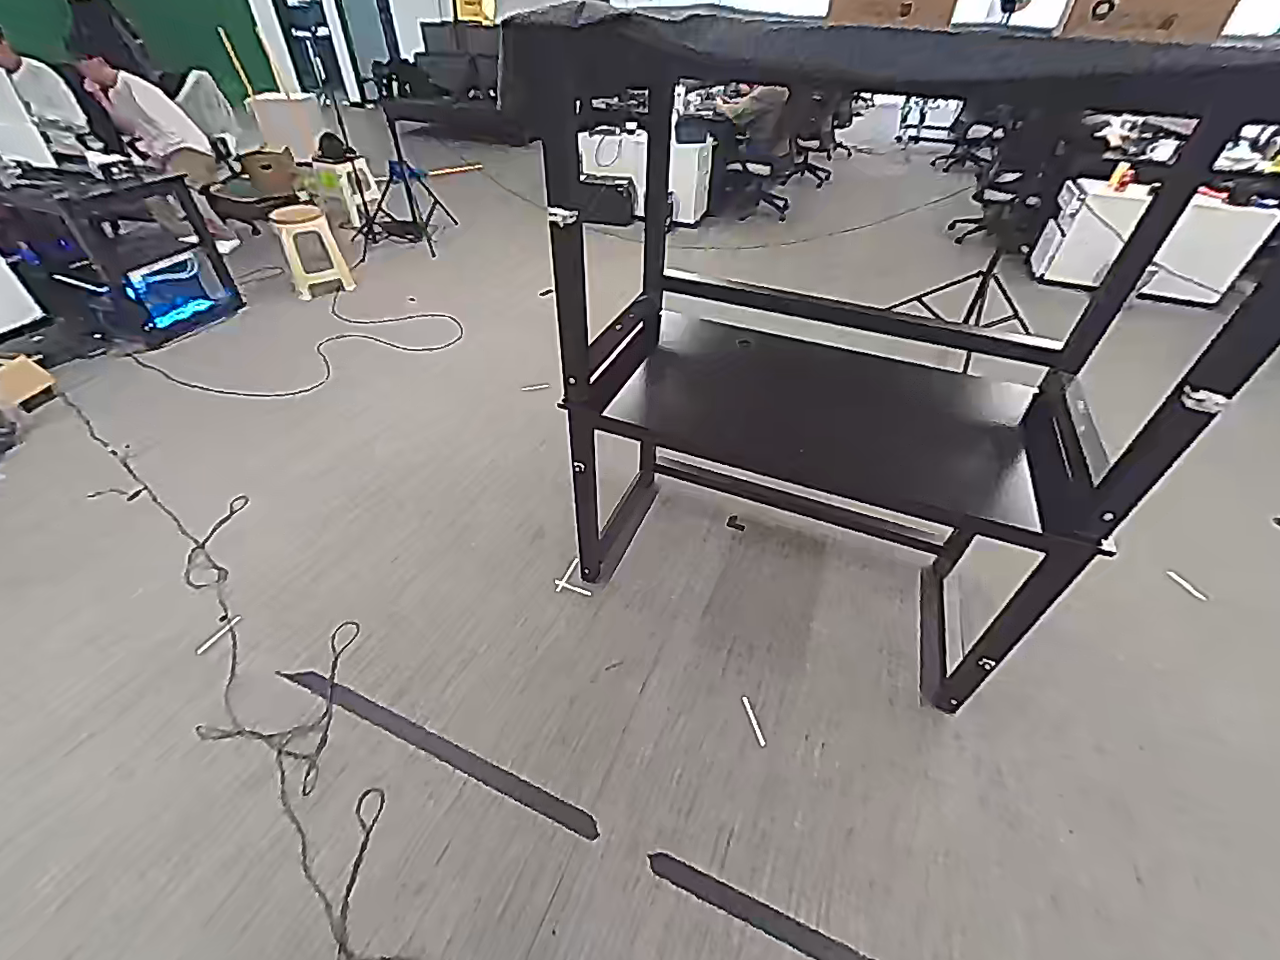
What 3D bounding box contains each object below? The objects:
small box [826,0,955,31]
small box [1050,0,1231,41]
[{"bbox_3d":[0.368,-0.737,0.748,0.168,0.176,0.179,17,42,17],"label":"small box"},{"bbox_3d":[0.647,-0.657,0.672,0.168,0.176,0.179,19,43,19],"label":"small box"}]
